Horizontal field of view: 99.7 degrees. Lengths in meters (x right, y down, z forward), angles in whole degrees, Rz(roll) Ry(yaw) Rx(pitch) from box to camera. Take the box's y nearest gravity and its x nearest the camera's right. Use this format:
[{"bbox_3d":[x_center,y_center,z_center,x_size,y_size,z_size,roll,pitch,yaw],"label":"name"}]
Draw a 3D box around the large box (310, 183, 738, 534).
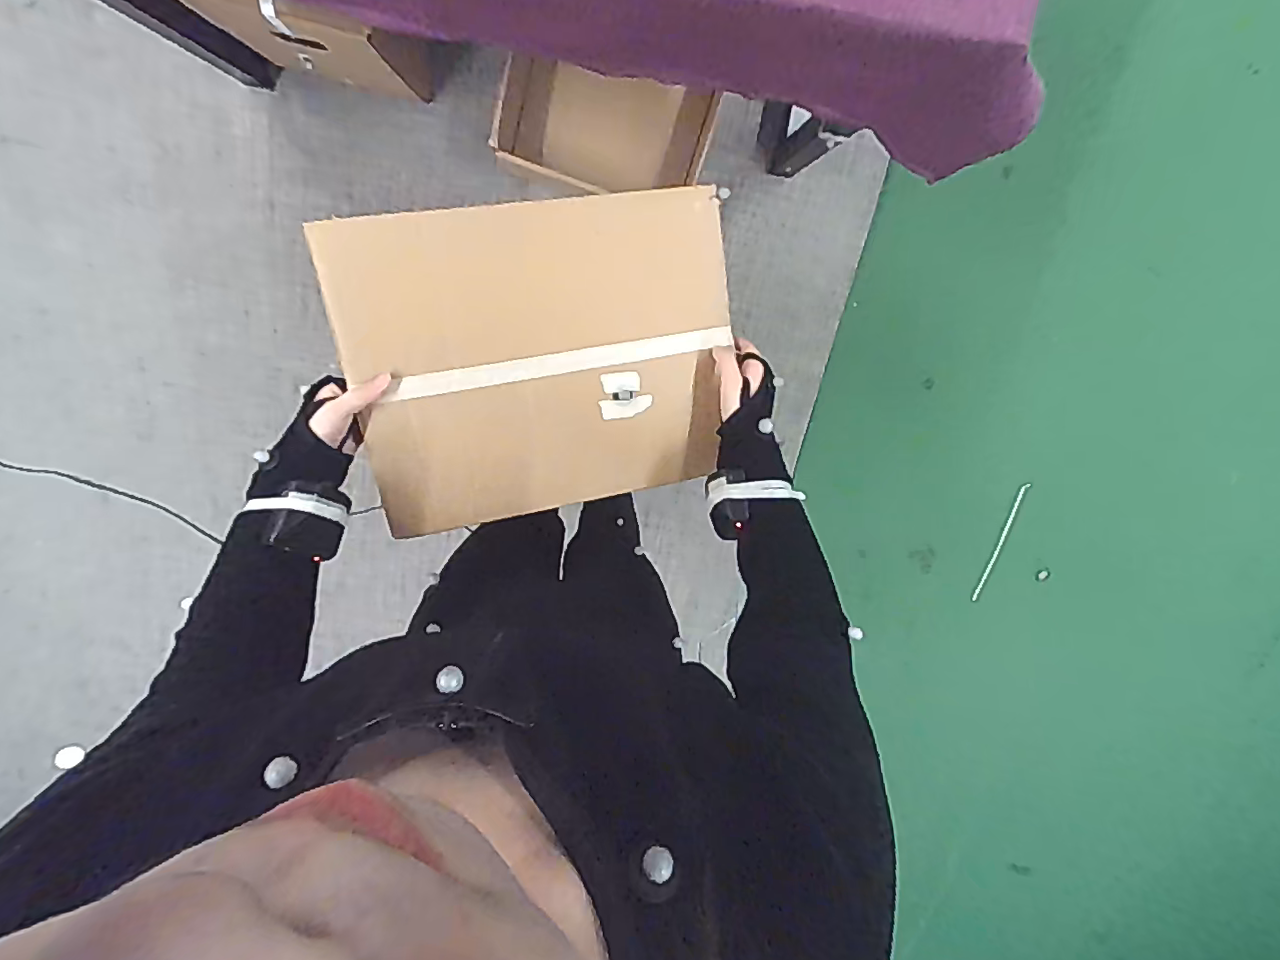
[{"bbox_3d":[-0.132,-0.160,0.715,0.408,0.320,0.320,-13,106,-13],"label":"large box"}]
